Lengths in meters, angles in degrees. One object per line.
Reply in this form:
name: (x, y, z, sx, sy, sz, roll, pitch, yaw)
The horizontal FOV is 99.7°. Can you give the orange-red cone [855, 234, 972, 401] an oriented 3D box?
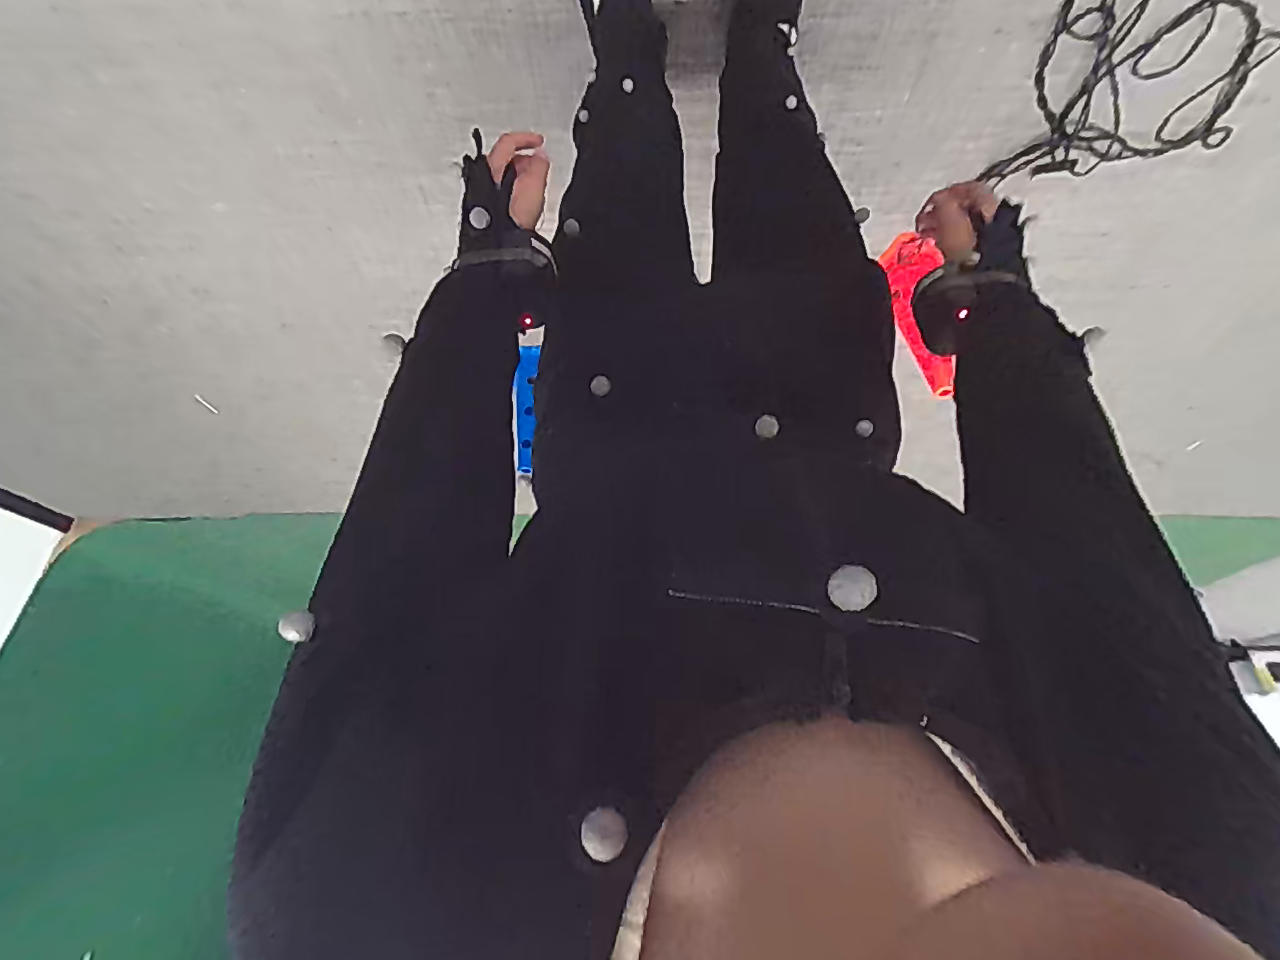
orange-red cone: (0.637, -0.330, 1.192, 0.199, 0.360, 0.198, 9, 151, -16)
